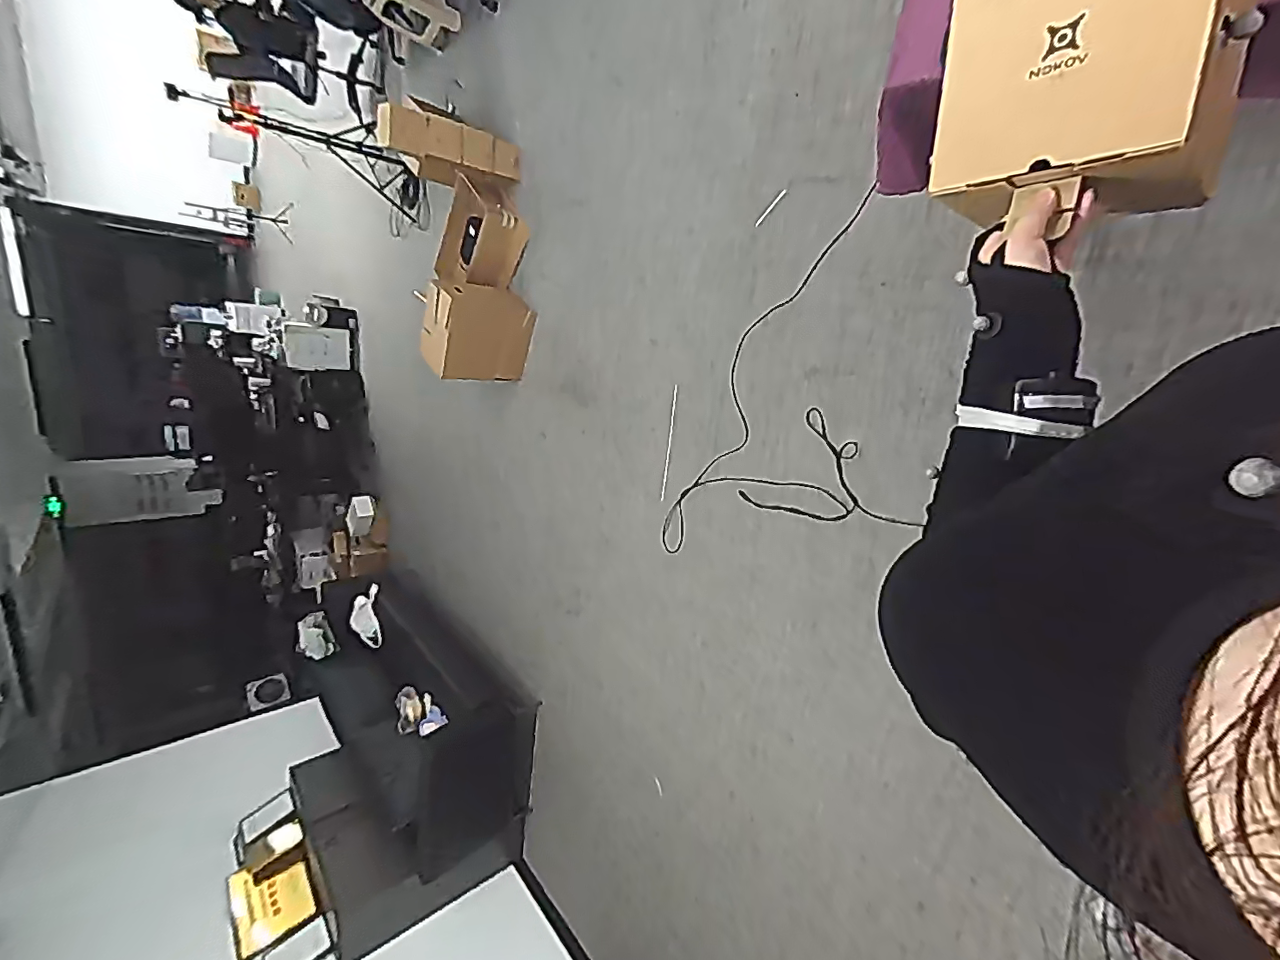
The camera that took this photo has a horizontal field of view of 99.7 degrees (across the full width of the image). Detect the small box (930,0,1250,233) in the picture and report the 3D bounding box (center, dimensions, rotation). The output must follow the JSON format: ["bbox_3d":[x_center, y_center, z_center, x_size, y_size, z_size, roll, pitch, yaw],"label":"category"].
[{"bbox_3d":[0.373,-0.326,0.453,0.168,0.176,0.179,15,108,47],"label":"small box"}]
